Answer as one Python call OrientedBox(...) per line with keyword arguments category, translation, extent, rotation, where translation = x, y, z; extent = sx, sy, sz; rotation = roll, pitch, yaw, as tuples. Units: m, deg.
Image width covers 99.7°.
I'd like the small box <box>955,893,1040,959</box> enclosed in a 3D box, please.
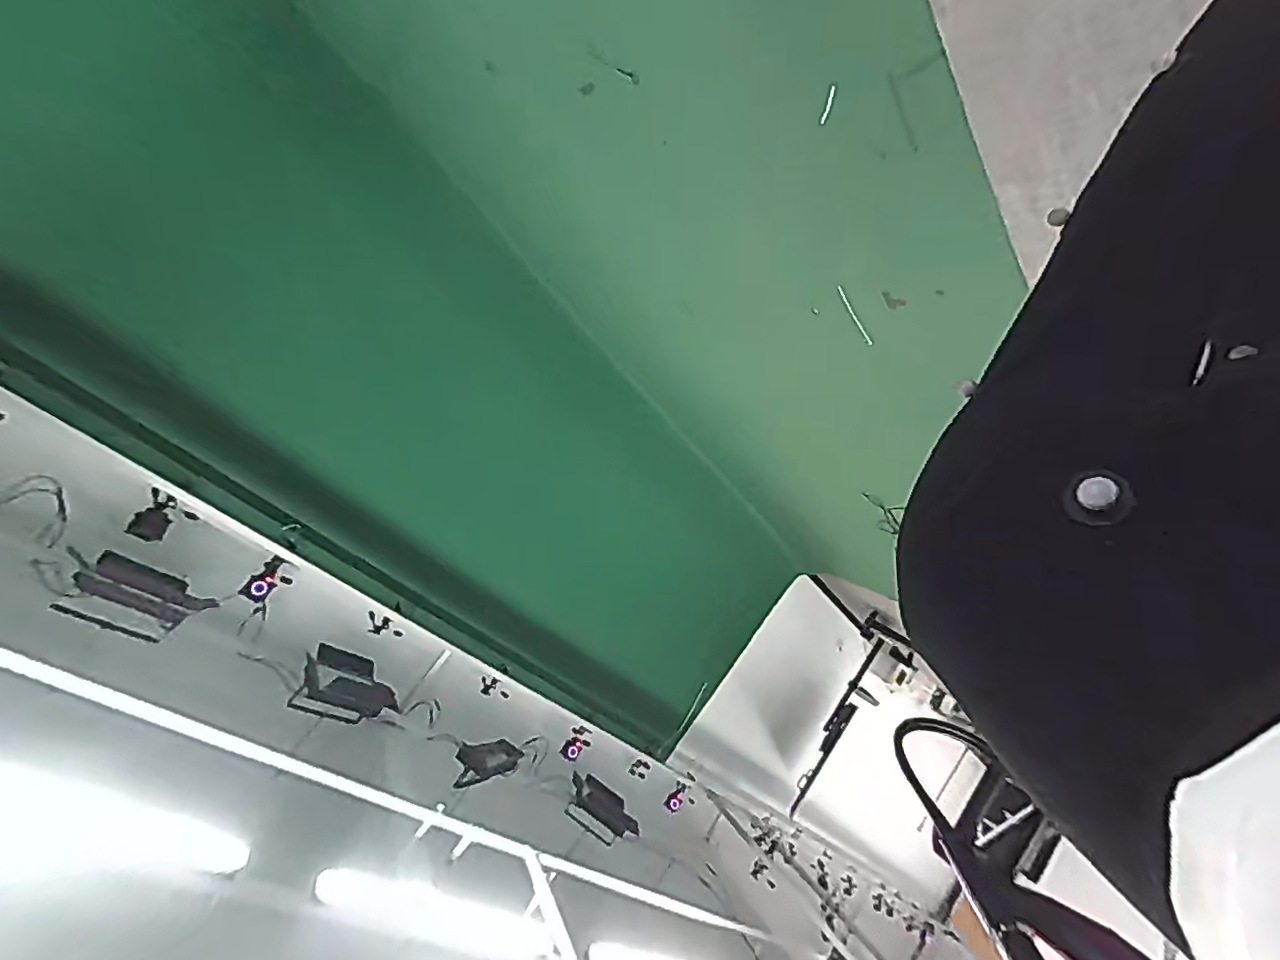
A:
OrientedBox(category="small box", translation=(1.197, 1.535, 1.801), extent=(0.168, 0.176, 0.179), rotation=(46, 167, -32))
